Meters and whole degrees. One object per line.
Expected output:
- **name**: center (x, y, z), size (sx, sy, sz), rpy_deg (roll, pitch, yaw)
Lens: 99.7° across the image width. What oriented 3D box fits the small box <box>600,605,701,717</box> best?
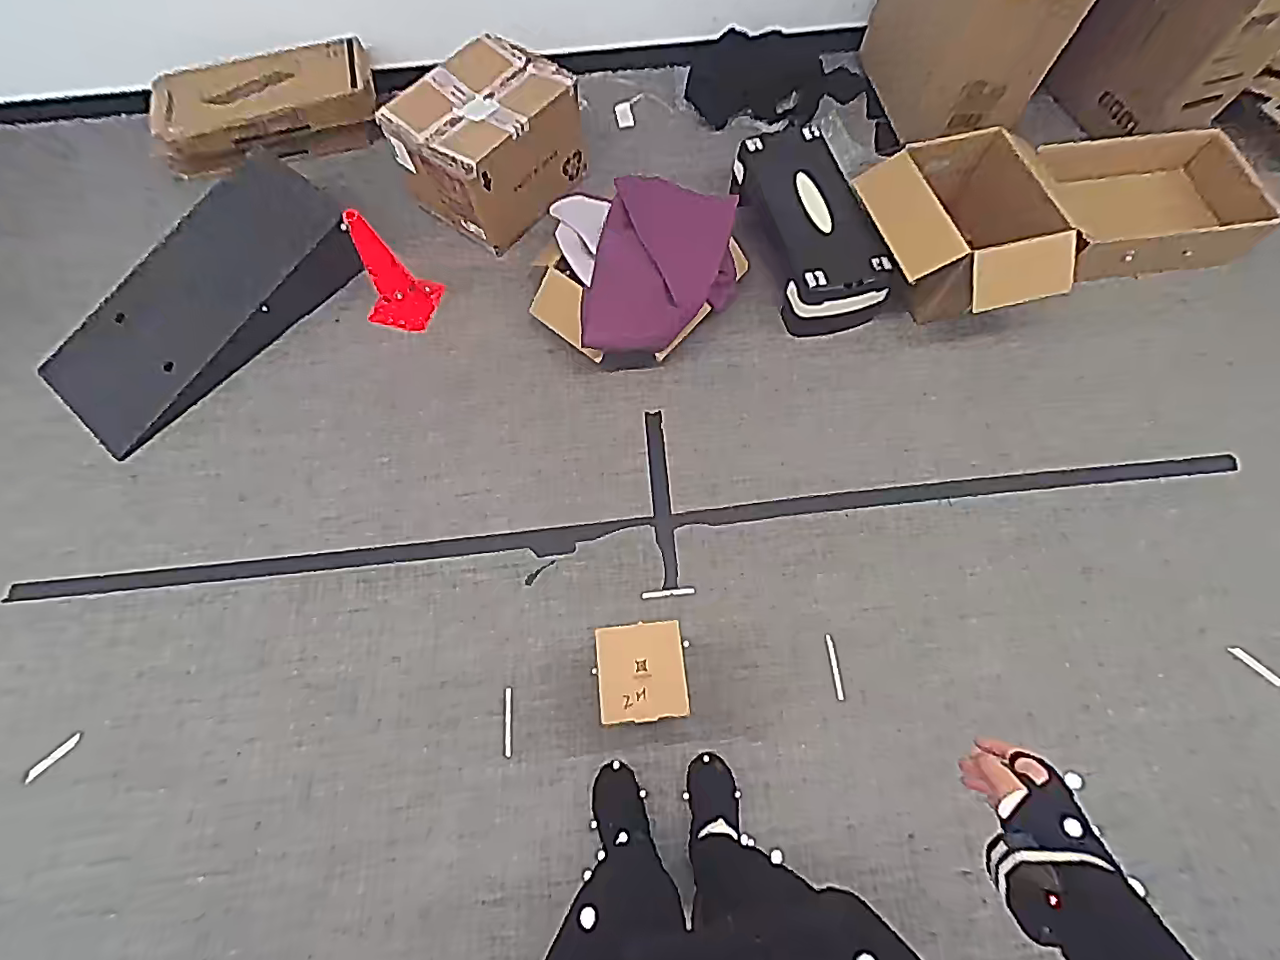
- **small box**: center (0.016, 0.342, 1.018), size (0.168, 0.176, 0.179), rpy_deg (-6, 69, 0)
